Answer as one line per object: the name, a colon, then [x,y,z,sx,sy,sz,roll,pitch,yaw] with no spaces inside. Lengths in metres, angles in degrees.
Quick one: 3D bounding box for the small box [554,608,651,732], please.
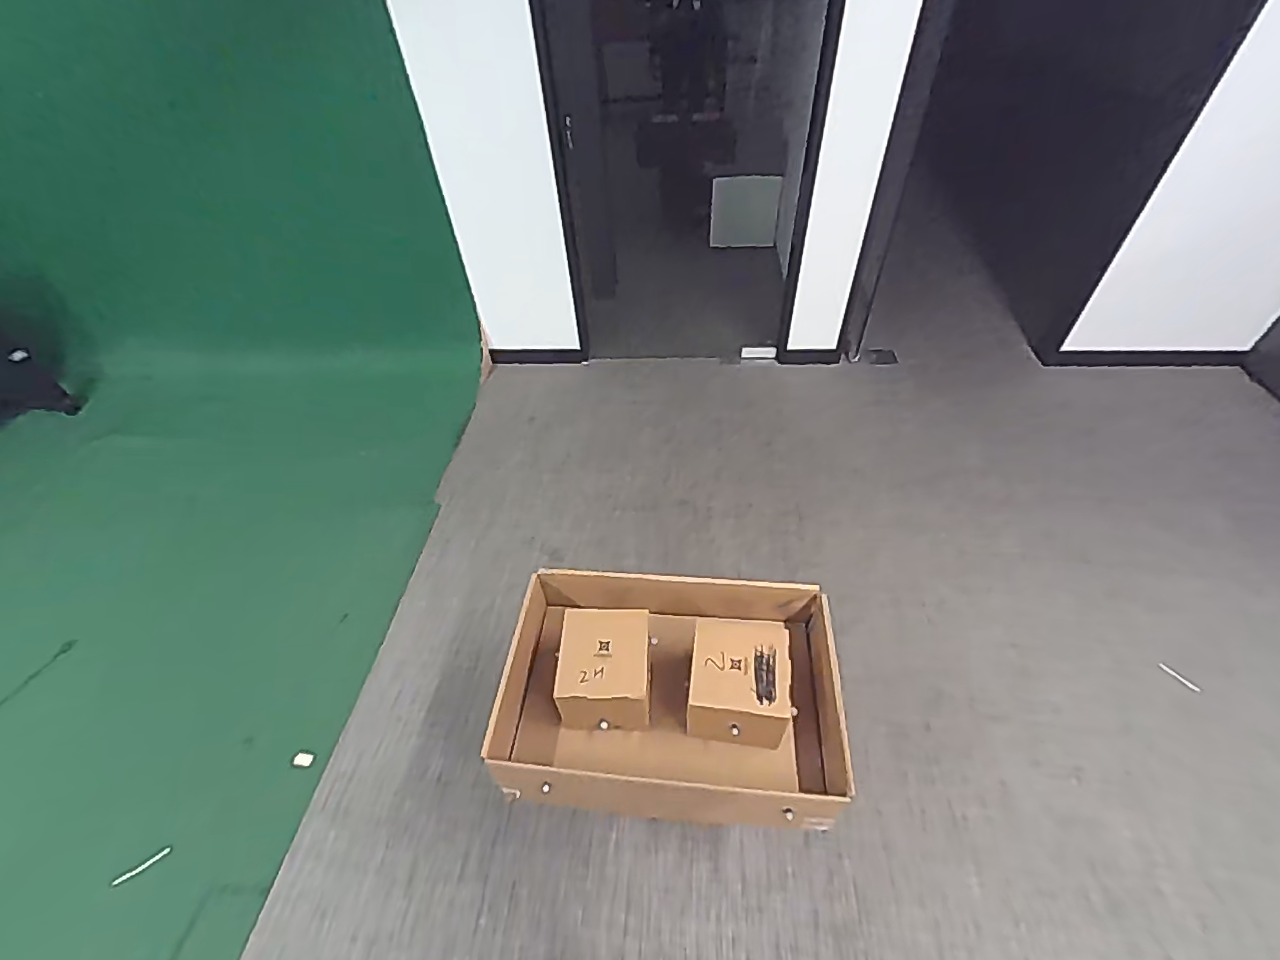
small box: [-0.064,0.370,1.056,0.168,0.176,0.179,0,47,4]
